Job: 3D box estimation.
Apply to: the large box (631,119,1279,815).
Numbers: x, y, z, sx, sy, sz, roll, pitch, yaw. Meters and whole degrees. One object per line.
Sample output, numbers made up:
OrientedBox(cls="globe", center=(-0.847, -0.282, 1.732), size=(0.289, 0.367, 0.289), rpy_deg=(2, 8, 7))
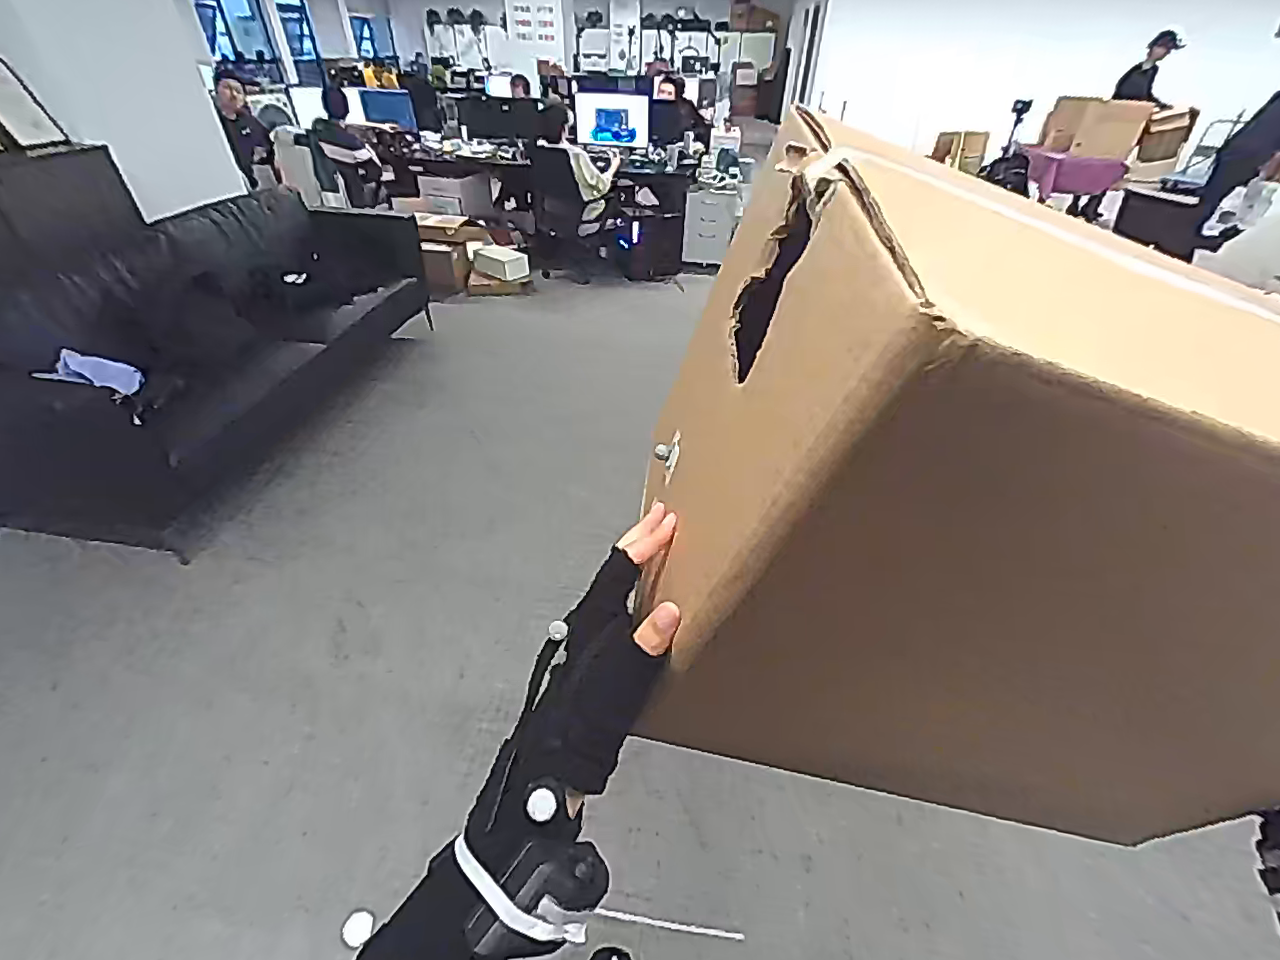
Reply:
OrientedBox(cls="large box", center=(0.233, 0.005, 0.397), size=(0.408, 0.320, 0.320), rpy_deg=(17, 44, -8))
